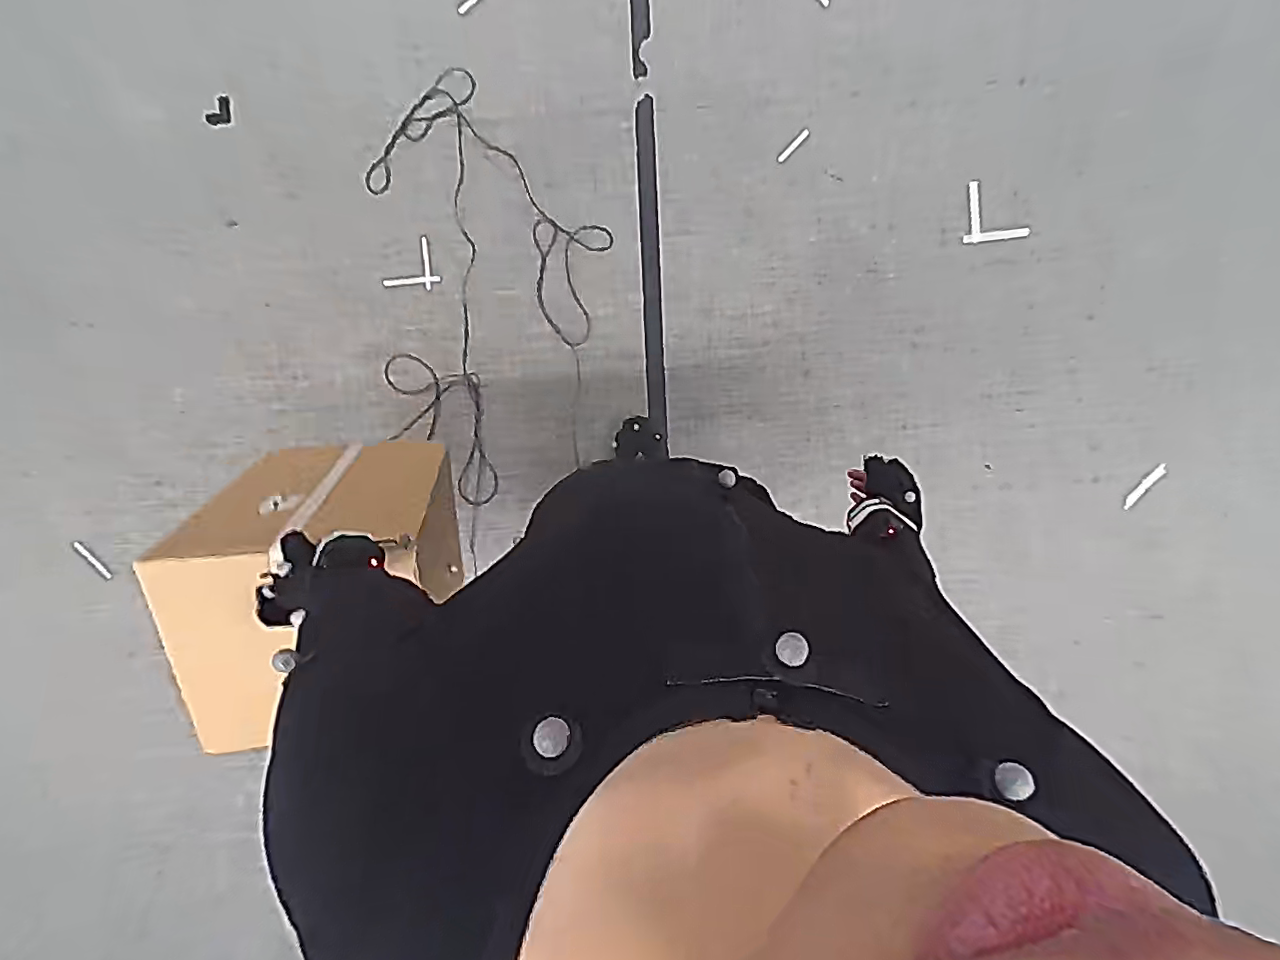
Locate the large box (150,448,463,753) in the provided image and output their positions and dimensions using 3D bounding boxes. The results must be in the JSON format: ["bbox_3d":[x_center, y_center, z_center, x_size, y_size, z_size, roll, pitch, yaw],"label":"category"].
[{"bbox_3d":[-0.483,0.163,0.907,0.320,0.408,0.320,-6,114,-11],"label":"large box"}]
